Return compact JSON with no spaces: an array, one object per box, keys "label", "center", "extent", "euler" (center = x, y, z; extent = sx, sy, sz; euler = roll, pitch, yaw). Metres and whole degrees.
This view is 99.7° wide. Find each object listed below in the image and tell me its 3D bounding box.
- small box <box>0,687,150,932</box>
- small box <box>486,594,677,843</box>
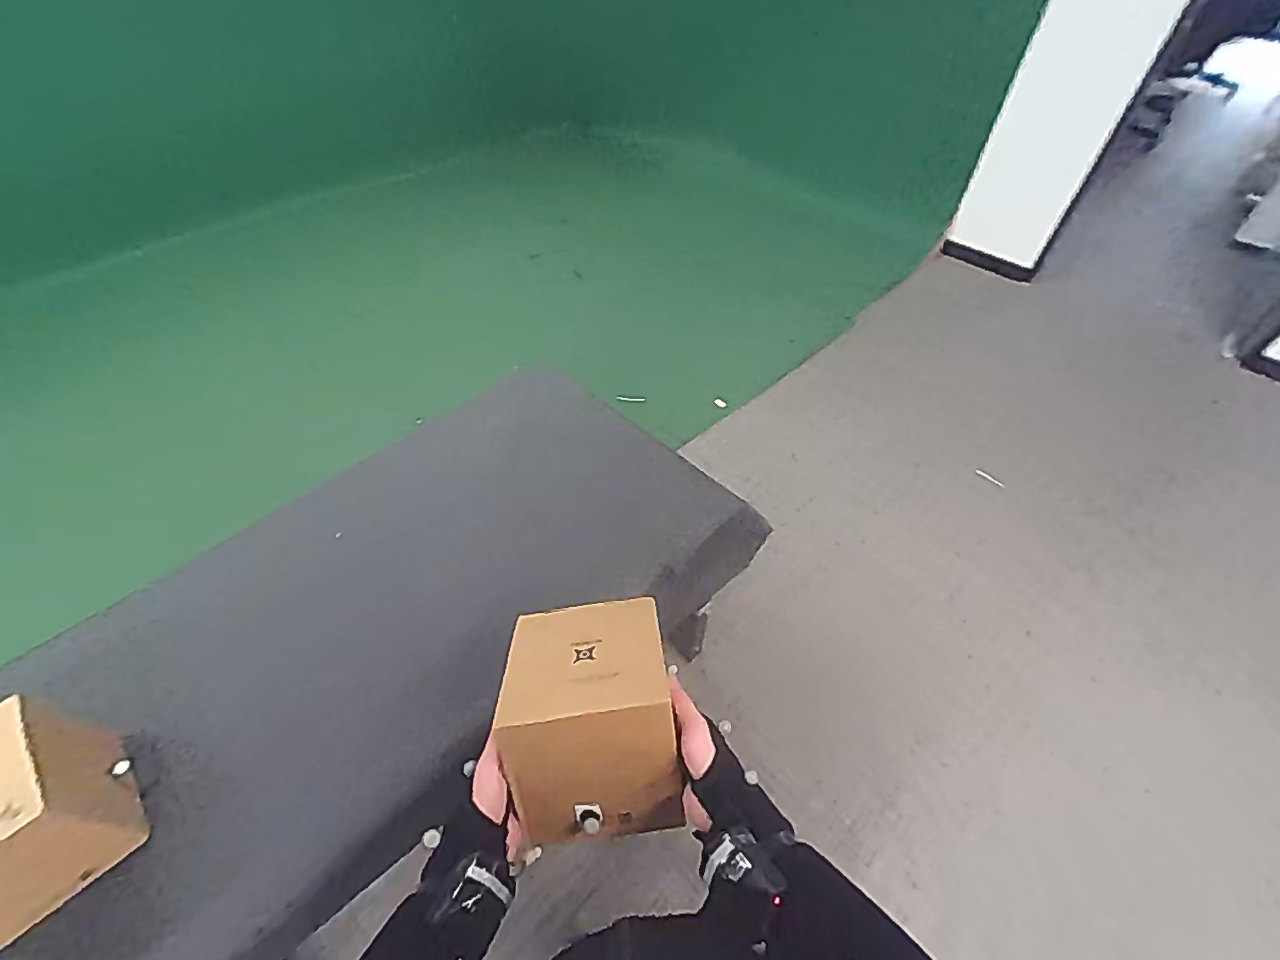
[{"label":"small box","center":[-0.736,0.386,0.630],"extent":[0.168,0.176,0.179],"euler":[-38,60,-26]},{"label":"small box","center":[-0.056,0.252,0.596],"extent":[0.168,0.176,0.179],"euler":[-8,22,-2]}]
